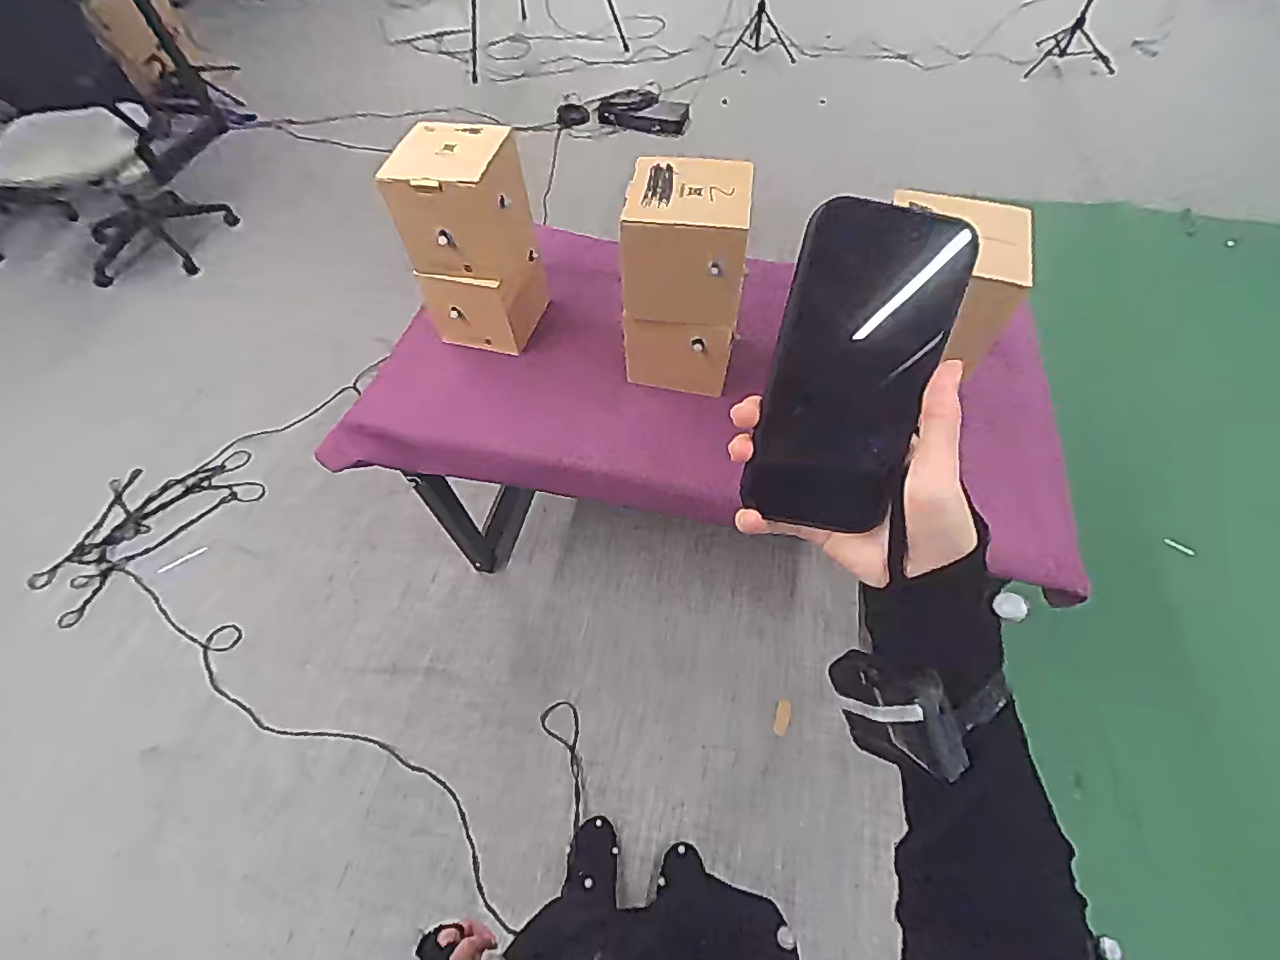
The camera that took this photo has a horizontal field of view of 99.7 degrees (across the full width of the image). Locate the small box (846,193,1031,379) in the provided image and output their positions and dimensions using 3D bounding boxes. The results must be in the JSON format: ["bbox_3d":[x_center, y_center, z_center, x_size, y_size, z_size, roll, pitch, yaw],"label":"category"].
[{"bbox_3d":[0.405,-0.265,0.754,0.179,0.176,0.168,17,59,12],"label":"small box"}]

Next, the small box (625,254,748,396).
[{"bbox_3d":[0.083,-0.271,0.966,0.179,0.176,0.168,12,59,10],"label":"small box"}]

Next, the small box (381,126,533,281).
[{"bbox_3d":[-0.292,-0.461,0.912,0.168,0.176,0.179,8,59,7],"label":"small box"}]

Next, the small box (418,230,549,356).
[{"bbox_3d":[-0.288,-0.365,1.045,0.168,0.176,0.179,12,59,10],"label":"small box"}]
